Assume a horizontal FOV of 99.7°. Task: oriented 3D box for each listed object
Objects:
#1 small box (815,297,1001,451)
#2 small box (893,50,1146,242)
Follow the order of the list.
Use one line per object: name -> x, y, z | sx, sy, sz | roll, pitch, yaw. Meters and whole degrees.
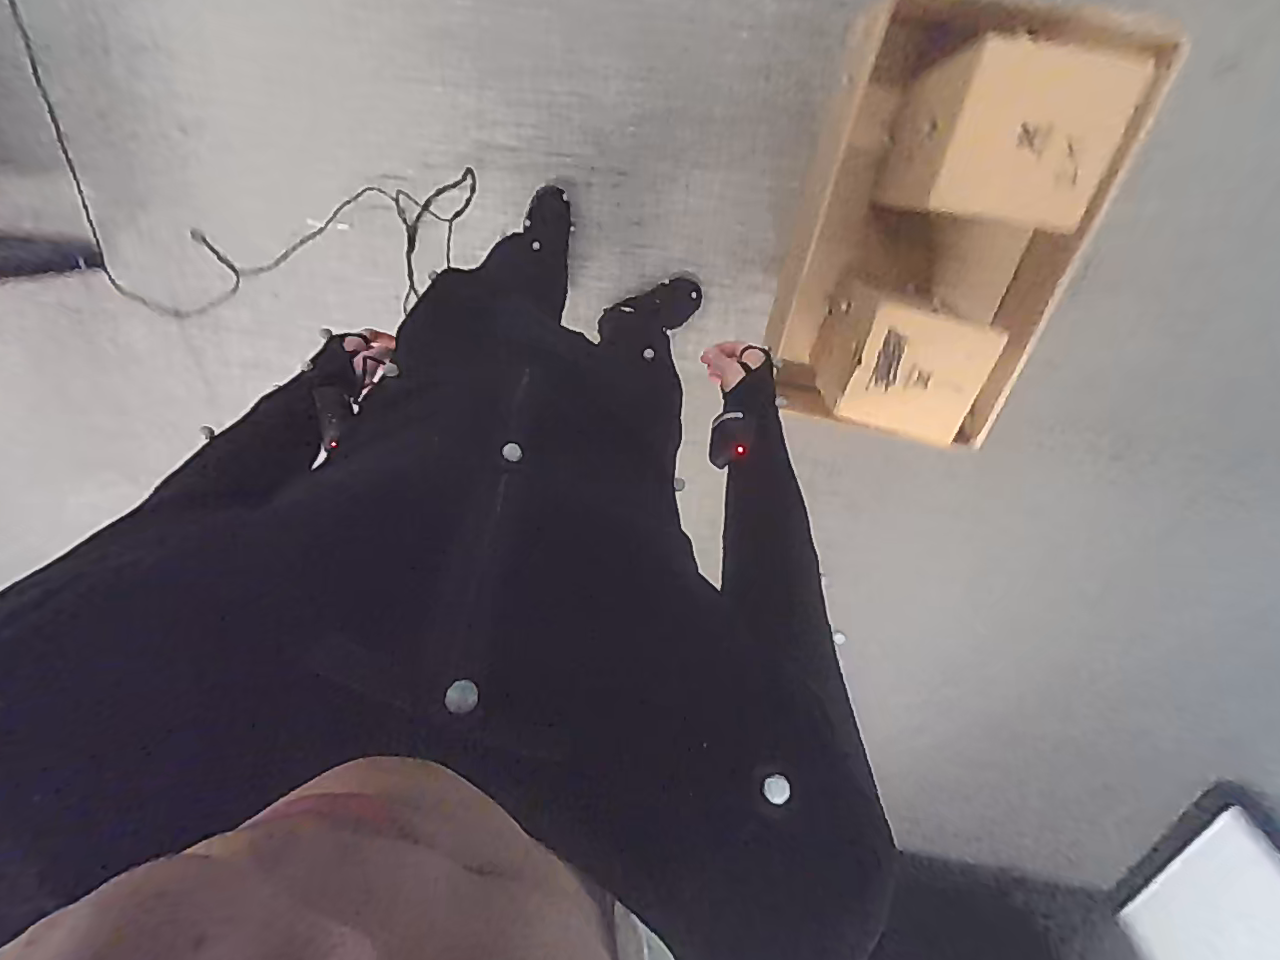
small box -> 0.384, -0.168, 0.819 | 0.179, 0.176, 0.168 | 15, 118, -1
small box -> 0.449, -0.408, 0.682 | 0.179, 0.176, 0.168 | 13, 119, 3
